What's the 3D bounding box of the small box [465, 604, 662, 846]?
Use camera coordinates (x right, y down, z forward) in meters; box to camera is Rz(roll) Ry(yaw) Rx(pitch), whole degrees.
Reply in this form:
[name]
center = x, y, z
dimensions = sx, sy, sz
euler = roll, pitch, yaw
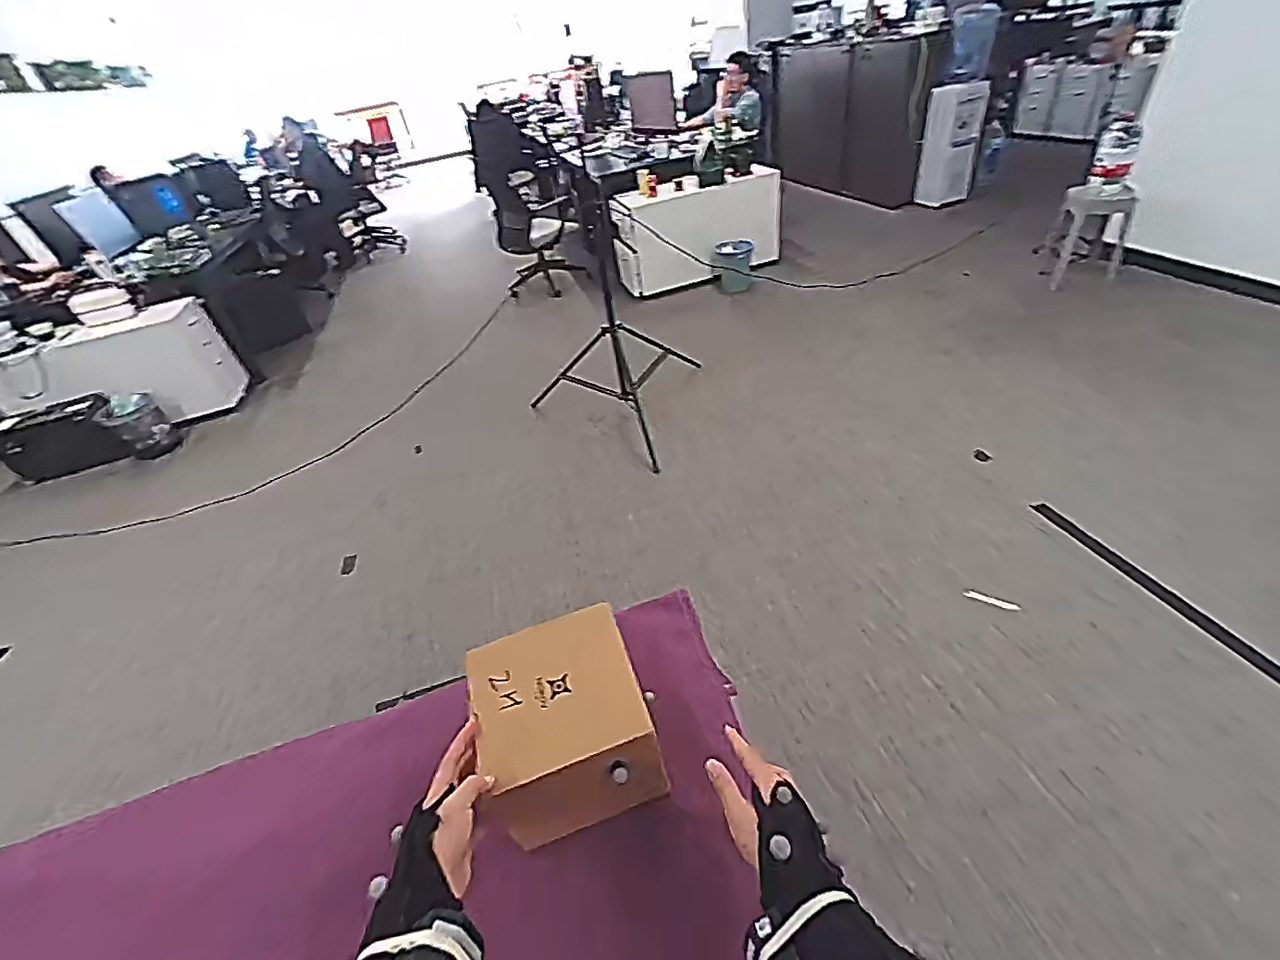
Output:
[small box]
center = -0.081, 0.278, 0.617
dimensions = 0.179, 0.176, 0.168
euler = -19, 42, -8
